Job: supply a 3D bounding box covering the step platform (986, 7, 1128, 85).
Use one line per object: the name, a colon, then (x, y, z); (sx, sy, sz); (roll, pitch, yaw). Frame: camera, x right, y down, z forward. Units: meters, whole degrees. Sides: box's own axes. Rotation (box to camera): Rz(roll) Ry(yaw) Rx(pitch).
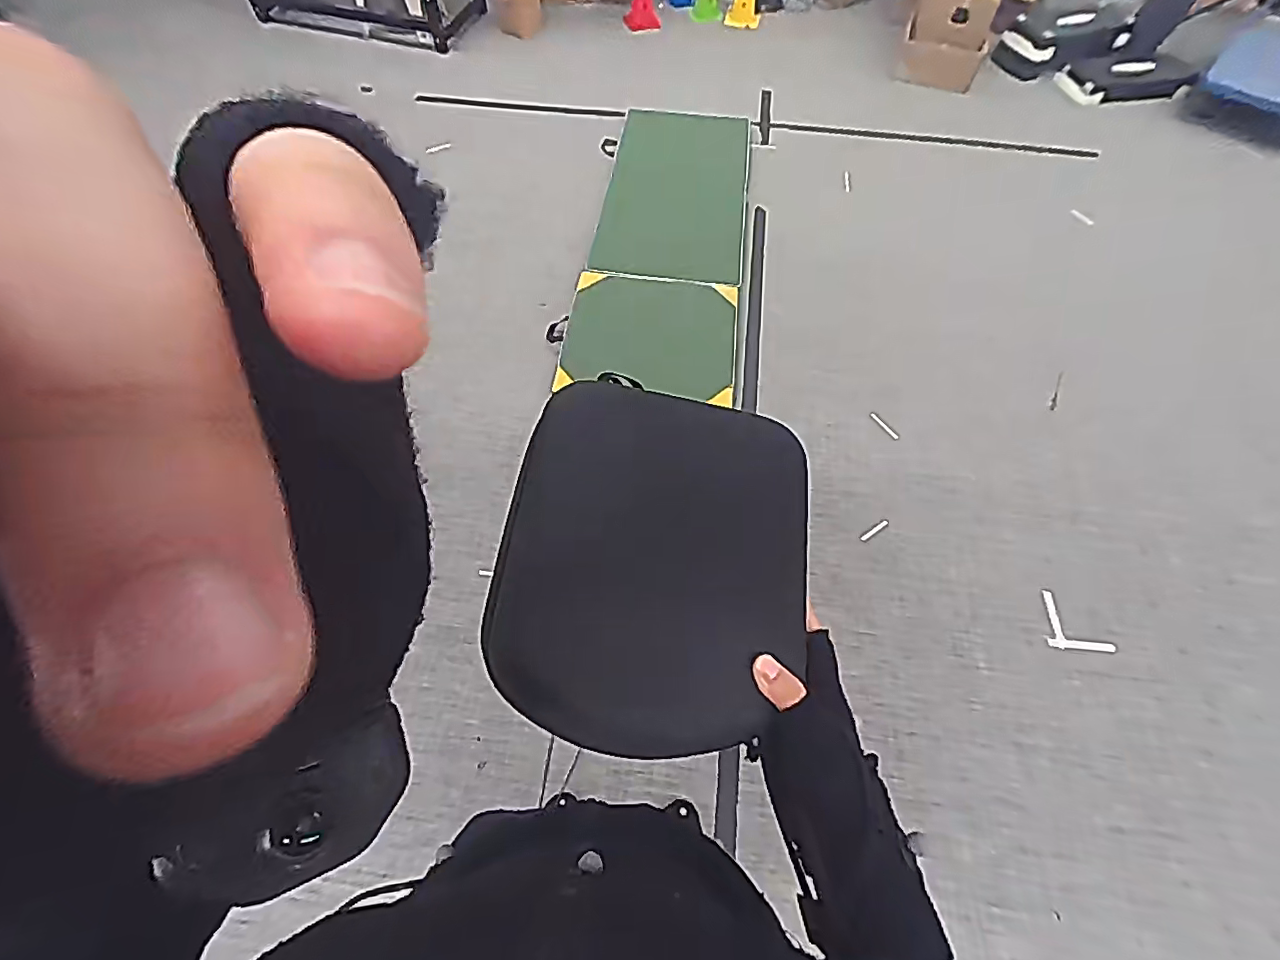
step platform: (2.302, -2.402, 2.983); (0.684, 0.204, 0.286); (-19, 63, -11)
